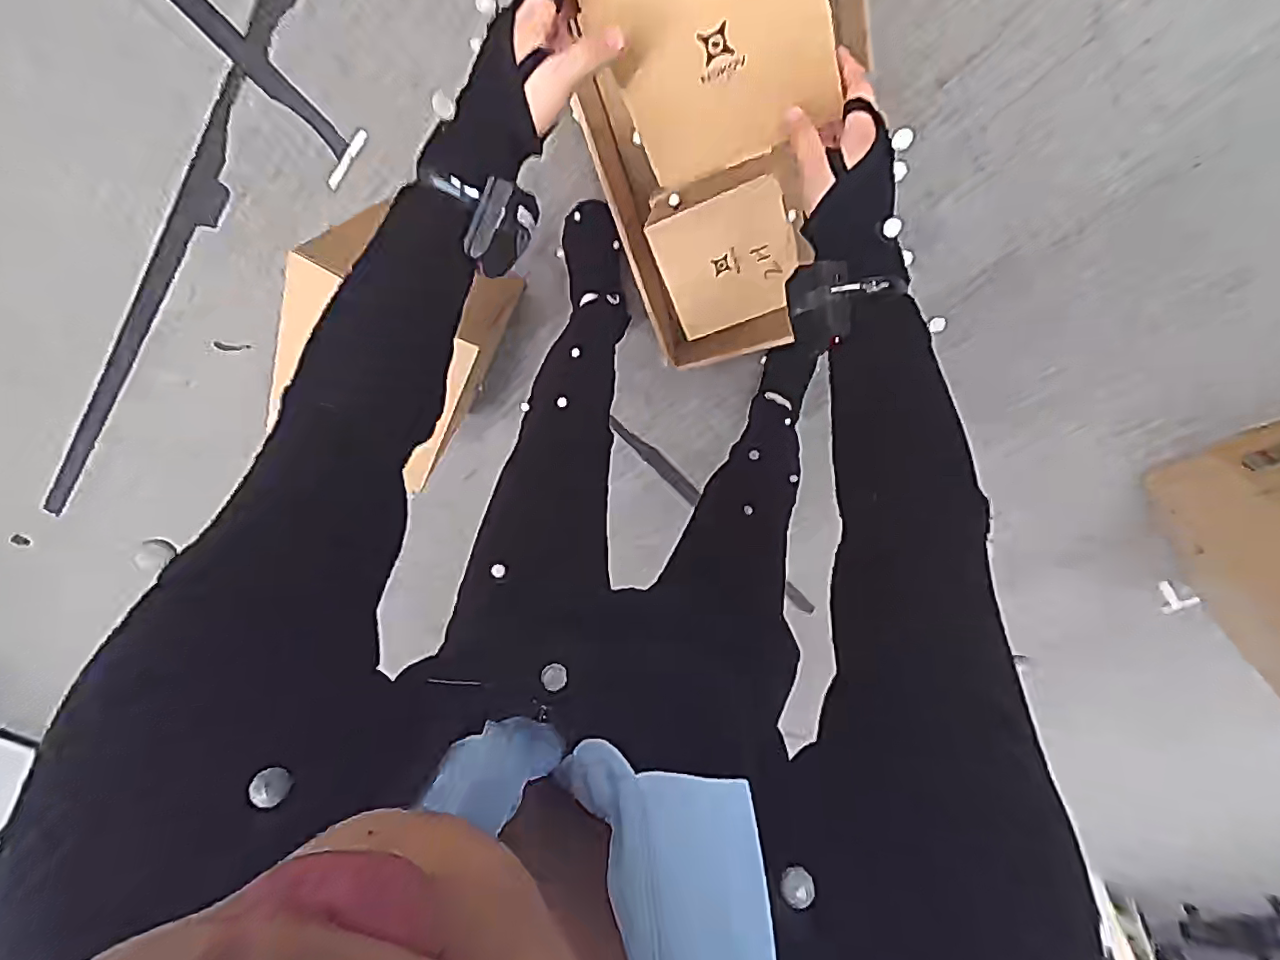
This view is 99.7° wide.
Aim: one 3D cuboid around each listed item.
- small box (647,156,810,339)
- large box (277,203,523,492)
[{"bbox_3d":[0.127,-0.330,0.766,0.179,0.176,0.168,-16,124,18],"label":"small box"},{"bbox_3d":[-0.474,-0.259,1.090,0.320,0.320,0.408,27,129,-14],"label":"large box"}]
